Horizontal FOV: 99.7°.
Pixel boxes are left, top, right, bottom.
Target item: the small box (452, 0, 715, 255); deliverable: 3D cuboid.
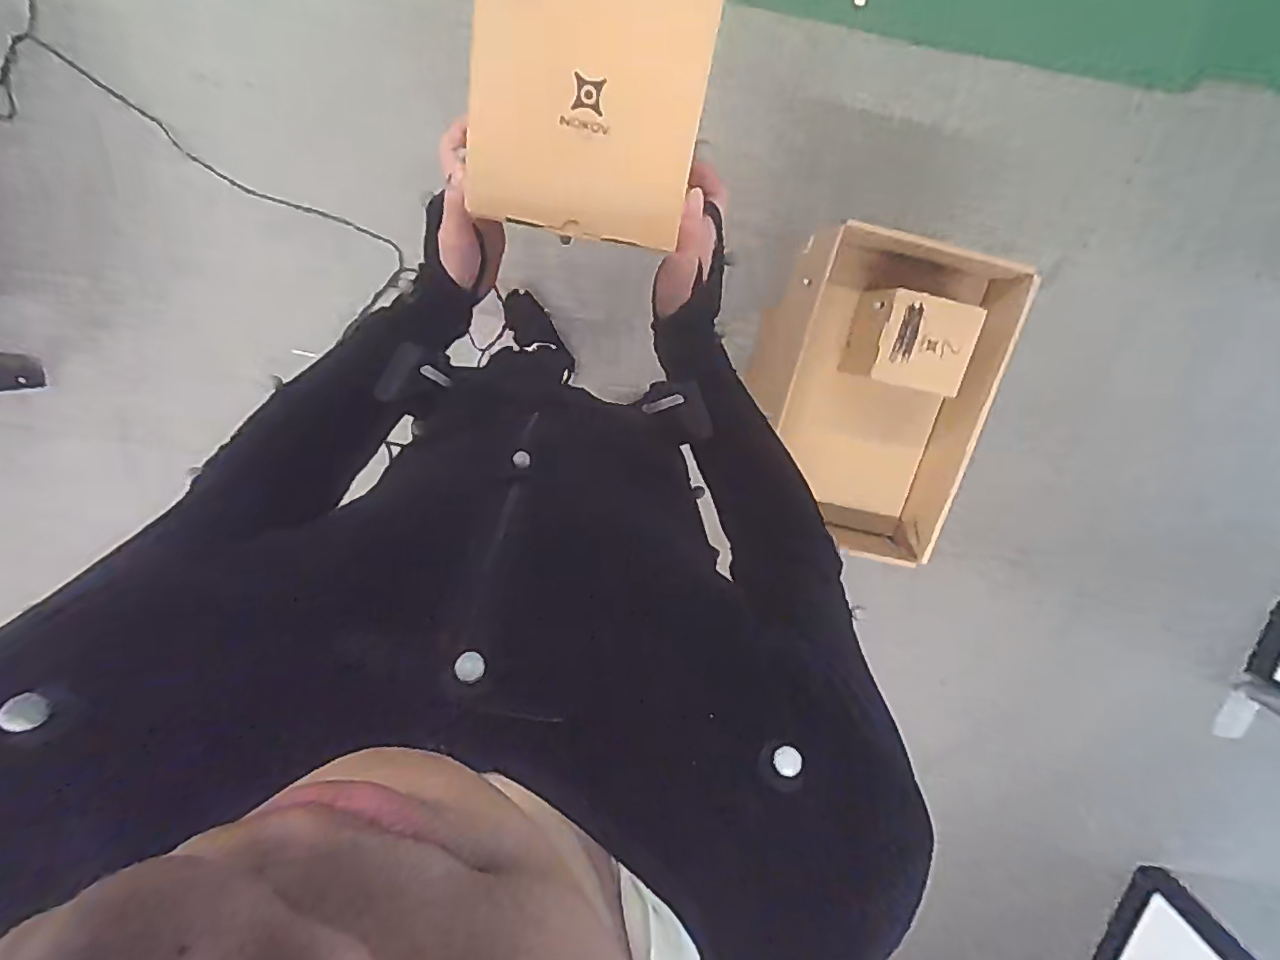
[{"bbox_3d":[-0.049,-0.298,0.447,0.168,0.176,0.179,8,116,-7],"label":"small box"}]
